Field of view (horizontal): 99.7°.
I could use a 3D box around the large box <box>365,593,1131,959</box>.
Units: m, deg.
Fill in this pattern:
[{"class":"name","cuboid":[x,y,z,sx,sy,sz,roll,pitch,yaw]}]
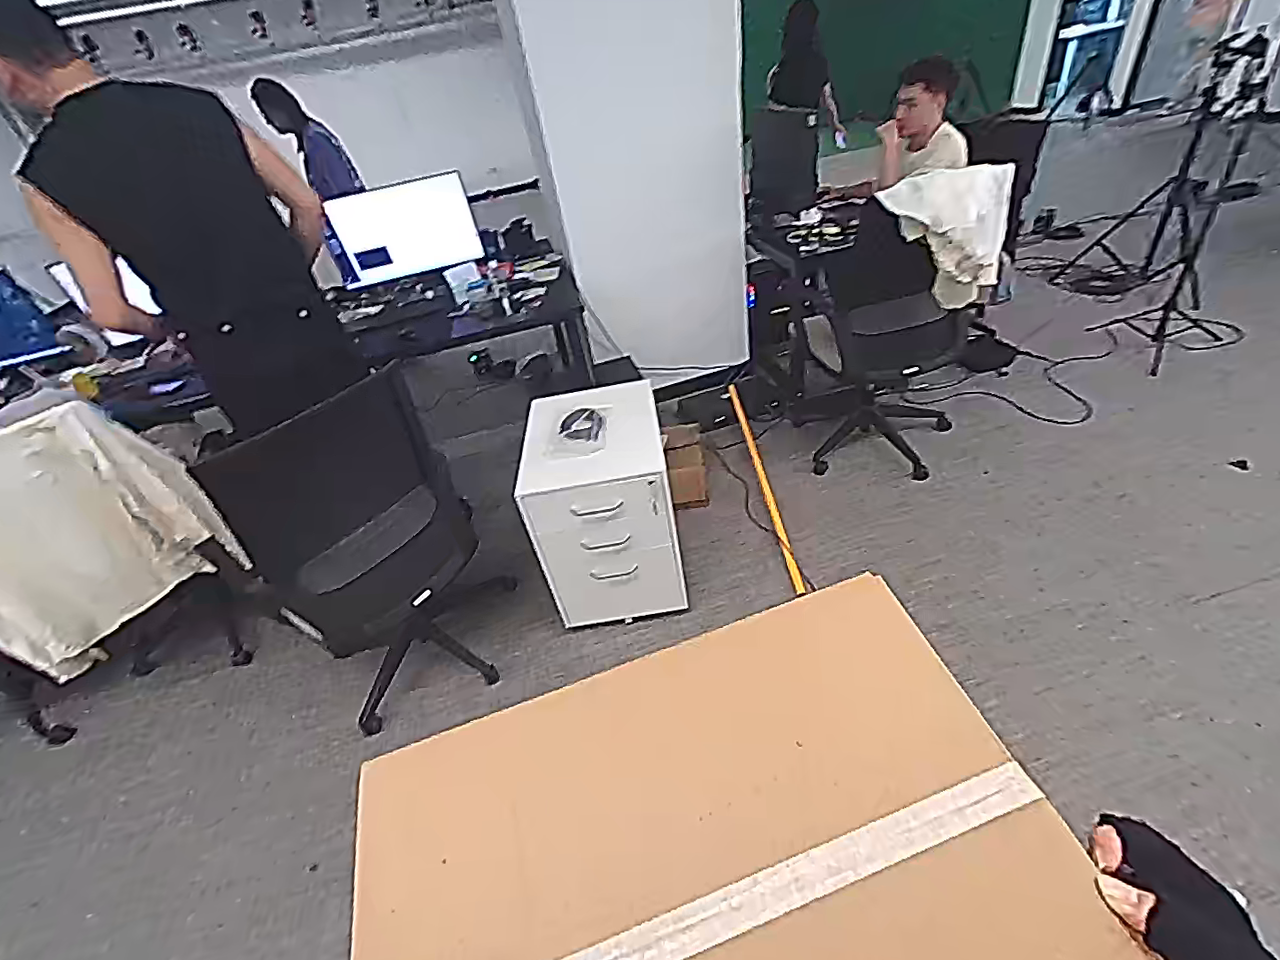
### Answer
[{"class":"large box","cuboid":[0.063,0.353,0.417,0.408,0.320,0.320,-20,48,-6]}]
